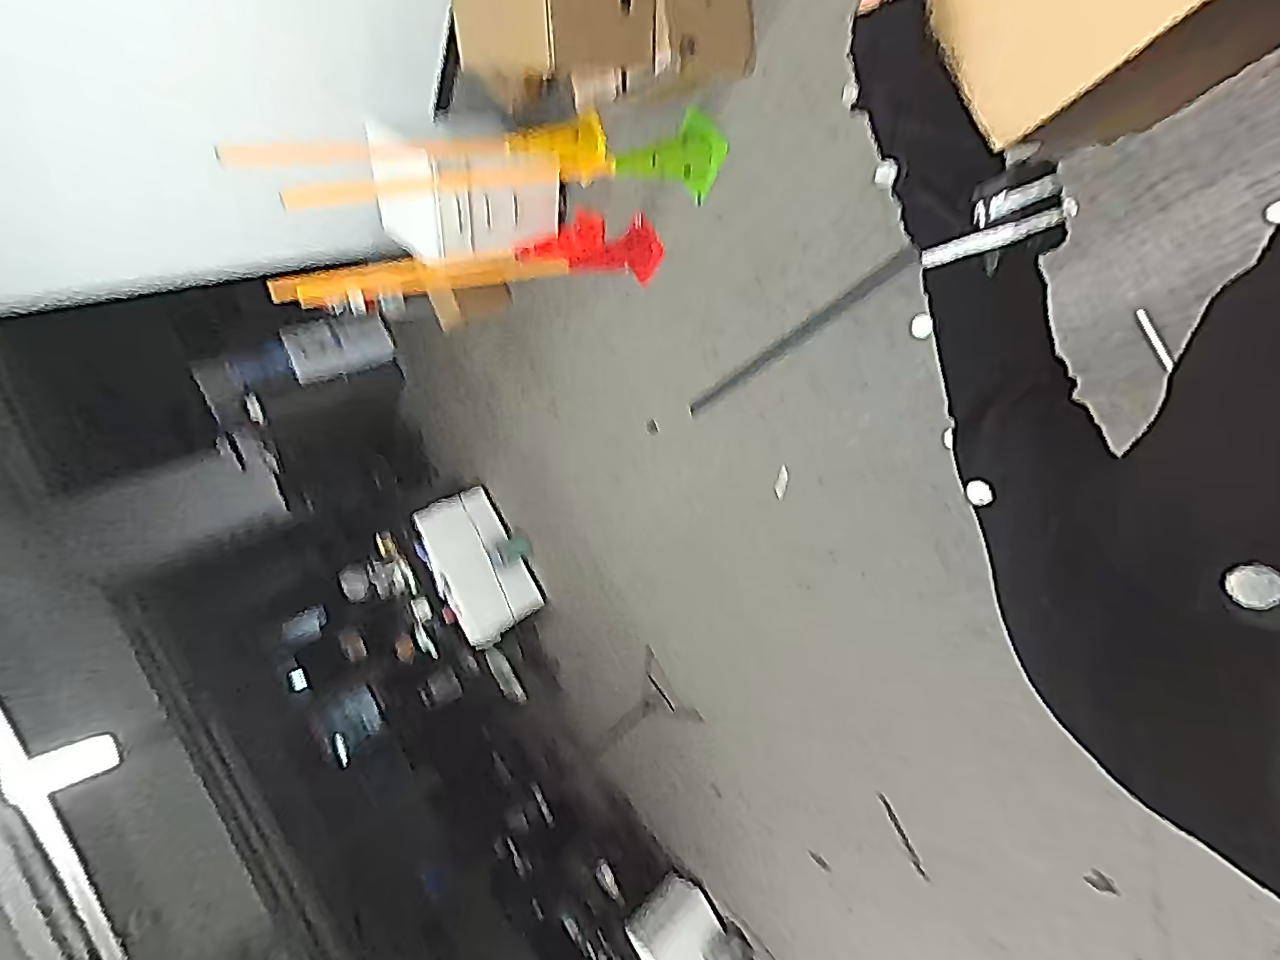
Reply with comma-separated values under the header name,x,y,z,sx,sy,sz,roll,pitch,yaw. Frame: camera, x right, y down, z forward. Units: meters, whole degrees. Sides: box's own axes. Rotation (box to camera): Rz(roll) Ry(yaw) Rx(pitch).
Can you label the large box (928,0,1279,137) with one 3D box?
name,x,y,z,sx,sy,sz,roll,pitch,yaw
large box,0.393,-0.474,0.294,0.408,0.320,0.320,-28,86,58
